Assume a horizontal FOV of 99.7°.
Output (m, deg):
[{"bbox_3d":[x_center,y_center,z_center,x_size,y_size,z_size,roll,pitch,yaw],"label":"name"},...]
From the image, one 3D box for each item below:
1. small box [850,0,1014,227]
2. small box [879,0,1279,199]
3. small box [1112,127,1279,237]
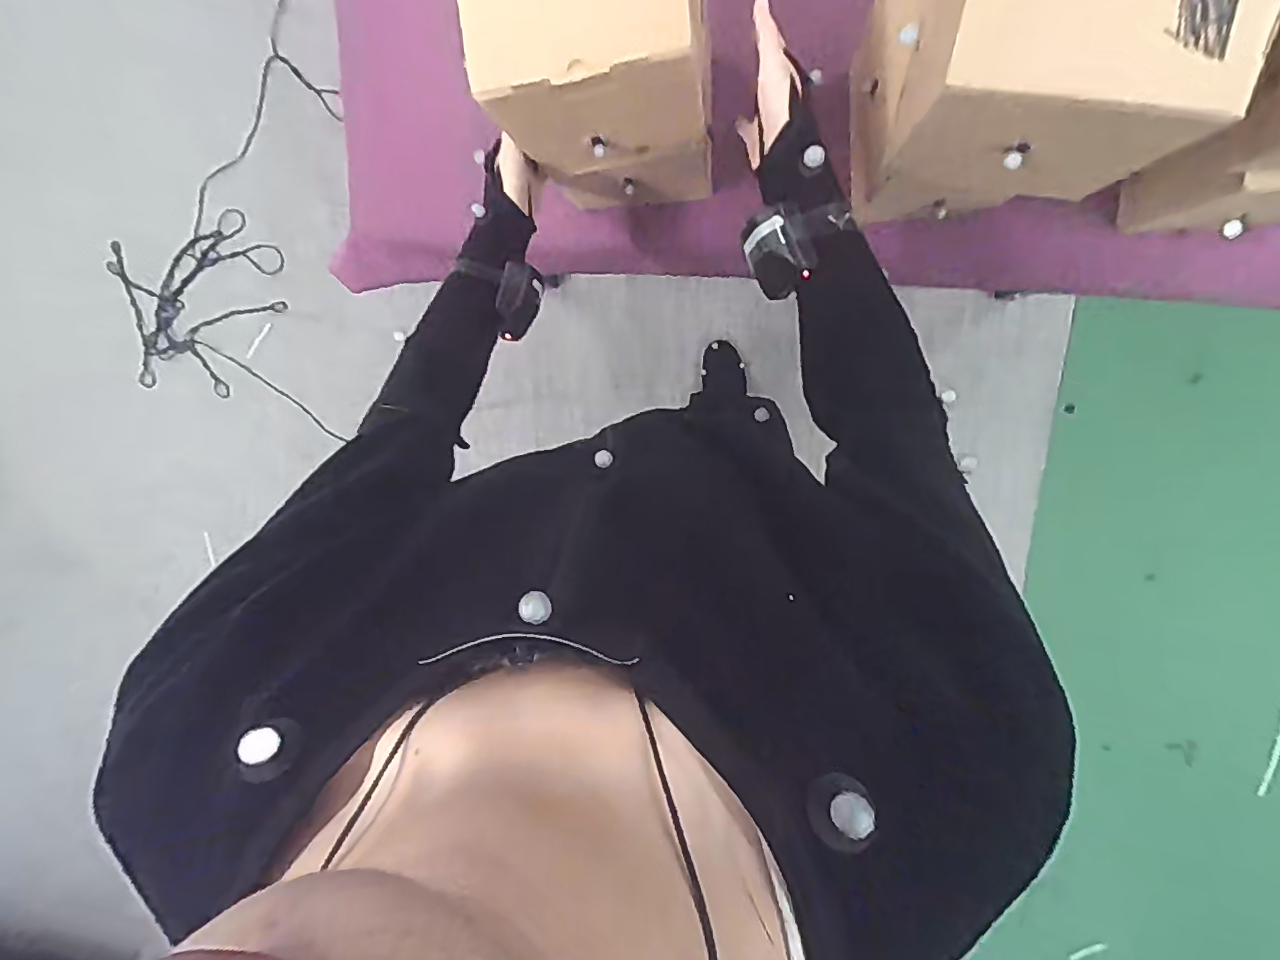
[{"bbox_3d":[0.316,-0.380,0.553,0.168,0.176,0.179,-2,101,12],"label":"small box"},{"bbox_3d":[0.303,-0.324,0.397,0.179,0.176,0.168,12,103,8],"label":"small box"},{"bbox_3d":[0.608,-0.338,0.509,0.179,0.176,0.168,0,102,11],"label":"small box"}]
